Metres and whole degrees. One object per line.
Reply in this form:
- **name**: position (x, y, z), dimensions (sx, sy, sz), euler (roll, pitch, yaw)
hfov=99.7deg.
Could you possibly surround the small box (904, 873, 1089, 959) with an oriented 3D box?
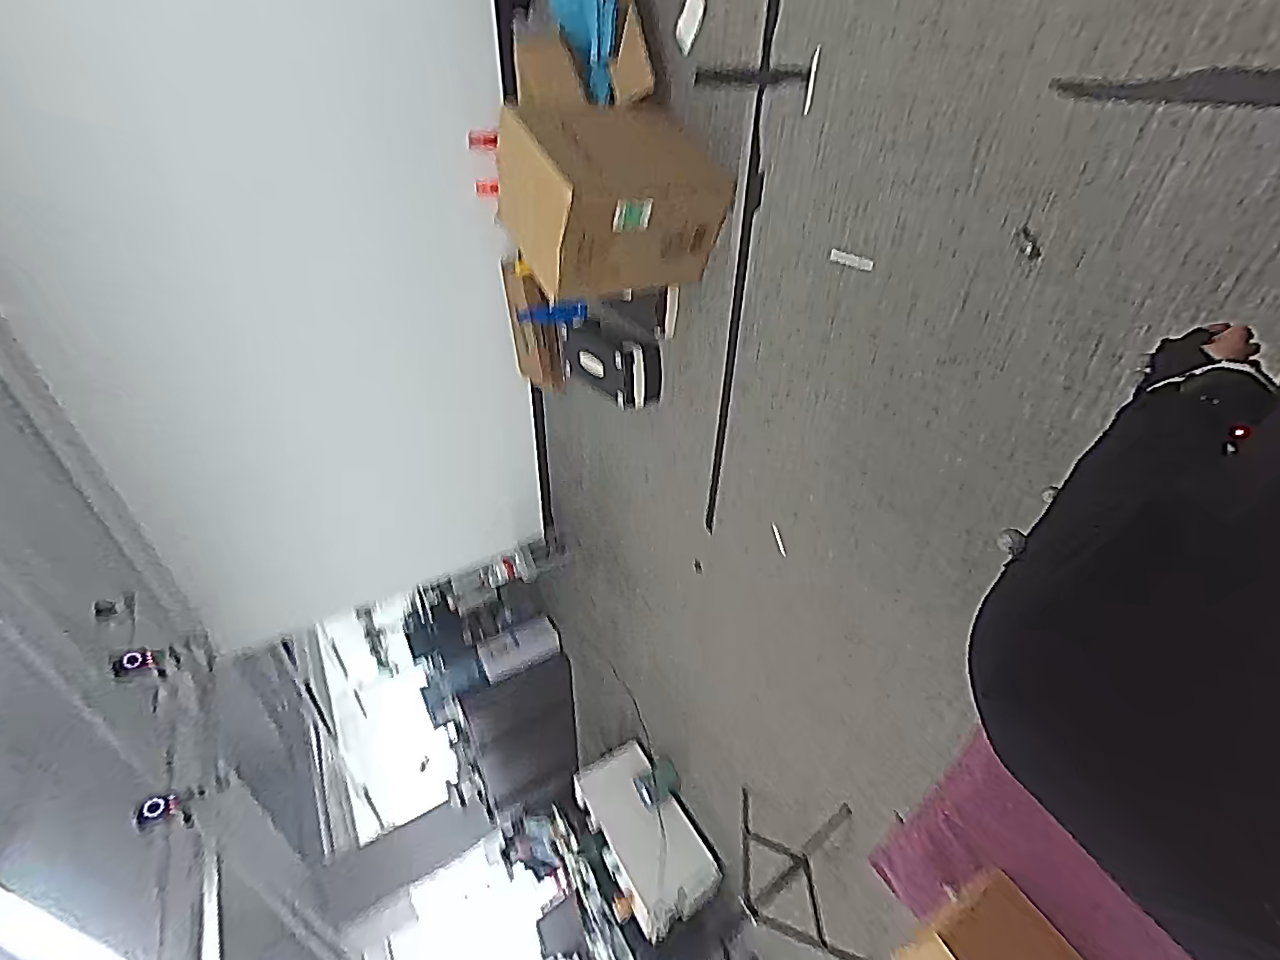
- **small box**: position (0.539, 0.736, 0.795), dimensions (0.179, 0.176, 0.168), euler (48, 144, 39)
